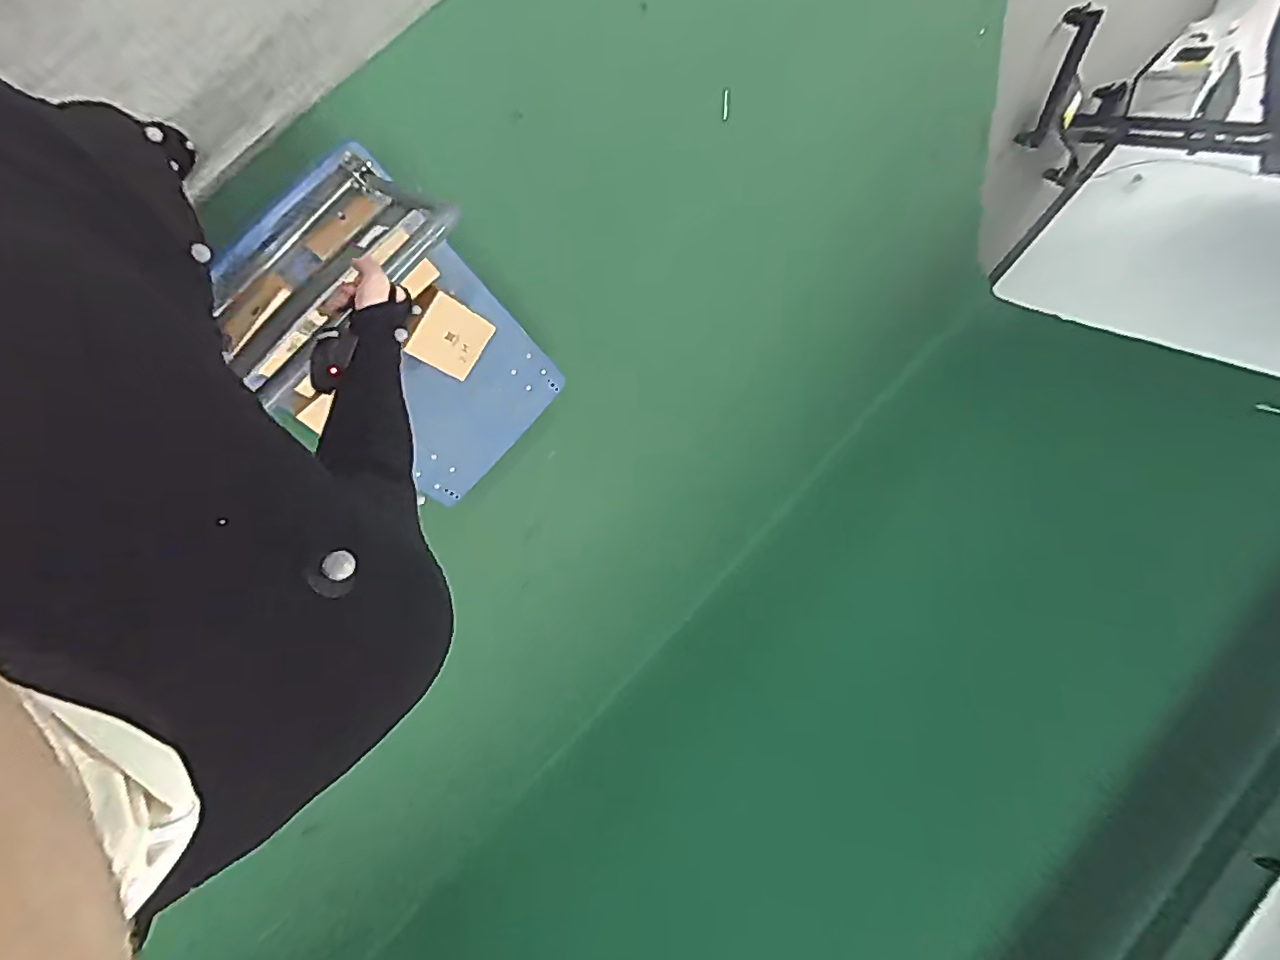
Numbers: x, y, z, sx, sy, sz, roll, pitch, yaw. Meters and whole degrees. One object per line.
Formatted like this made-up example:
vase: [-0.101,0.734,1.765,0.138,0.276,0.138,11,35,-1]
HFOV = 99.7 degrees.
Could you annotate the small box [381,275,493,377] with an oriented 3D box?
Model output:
small box: [-0.512,-0.390,1.355,0.168,0.176,0.179,-55,142,6]
